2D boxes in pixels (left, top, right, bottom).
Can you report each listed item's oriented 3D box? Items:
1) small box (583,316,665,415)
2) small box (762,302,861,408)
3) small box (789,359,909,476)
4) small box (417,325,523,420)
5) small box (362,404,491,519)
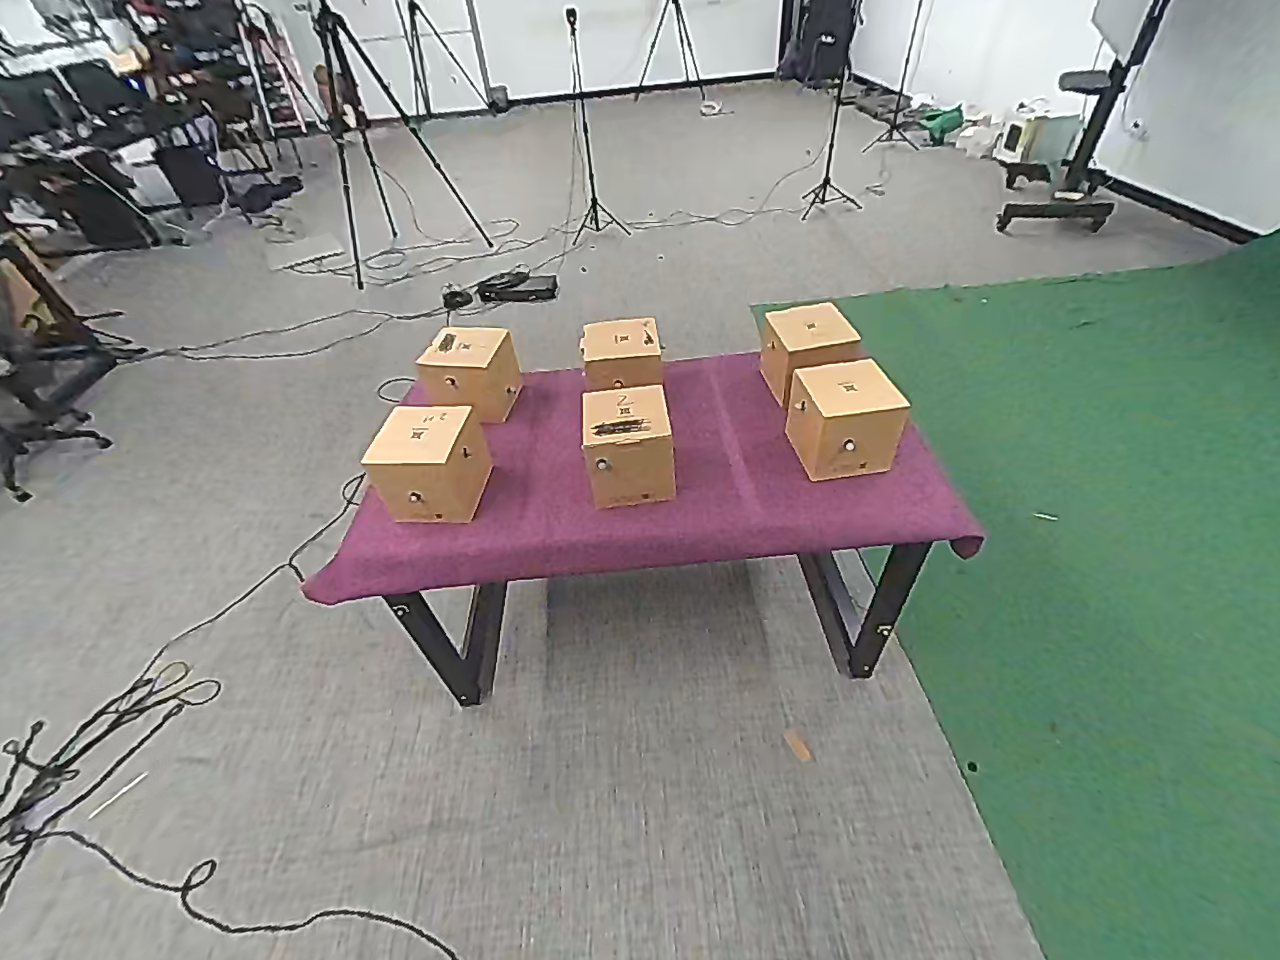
[{"bbox_3d":[-0.037,-0.270,1.300,0.179,0.176,0.168,-6,46,1],"label":"small box"},{"bbox_3d":[0.396,-0.295,1.283,0.168,0.176,0.179,-10,46,-2],"label":"small box"},{"bbox_3d":[0.415,-0.122,1.105,0.168,0.176,0.179,-8,42,-1],"label":"small box"},{"bbox_3d":[-0.406,-0.261,1.323,0.179,0.176,0.168,5,47,8],"label":"small box"},{"bbox_3d":[-0.417,-0.036,1.096,0.168,0.176,0.179,1,45,5],"label":"small box"}]
